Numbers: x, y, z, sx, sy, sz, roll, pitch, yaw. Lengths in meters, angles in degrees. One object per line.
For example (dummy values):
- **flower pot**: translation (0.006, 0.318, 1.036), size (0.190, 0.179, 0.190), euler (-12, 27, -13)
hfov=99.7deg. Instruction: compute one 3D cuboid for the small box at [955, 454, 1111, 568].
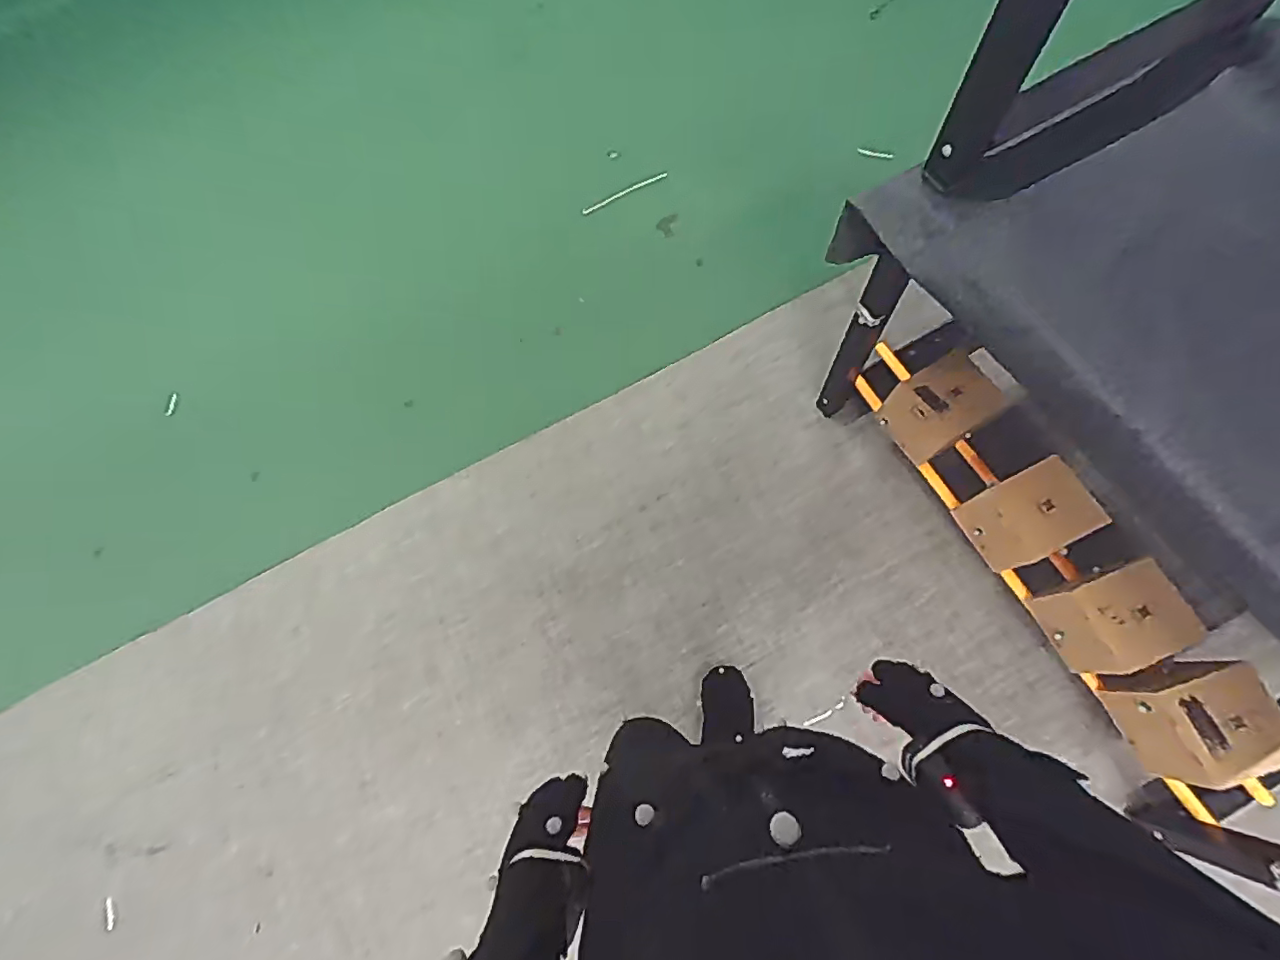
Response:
- **small box**: translation (0.829, 0.073, 1.163), size (0.179, 0.176, 0.168), euler (-28, 71, -1)
